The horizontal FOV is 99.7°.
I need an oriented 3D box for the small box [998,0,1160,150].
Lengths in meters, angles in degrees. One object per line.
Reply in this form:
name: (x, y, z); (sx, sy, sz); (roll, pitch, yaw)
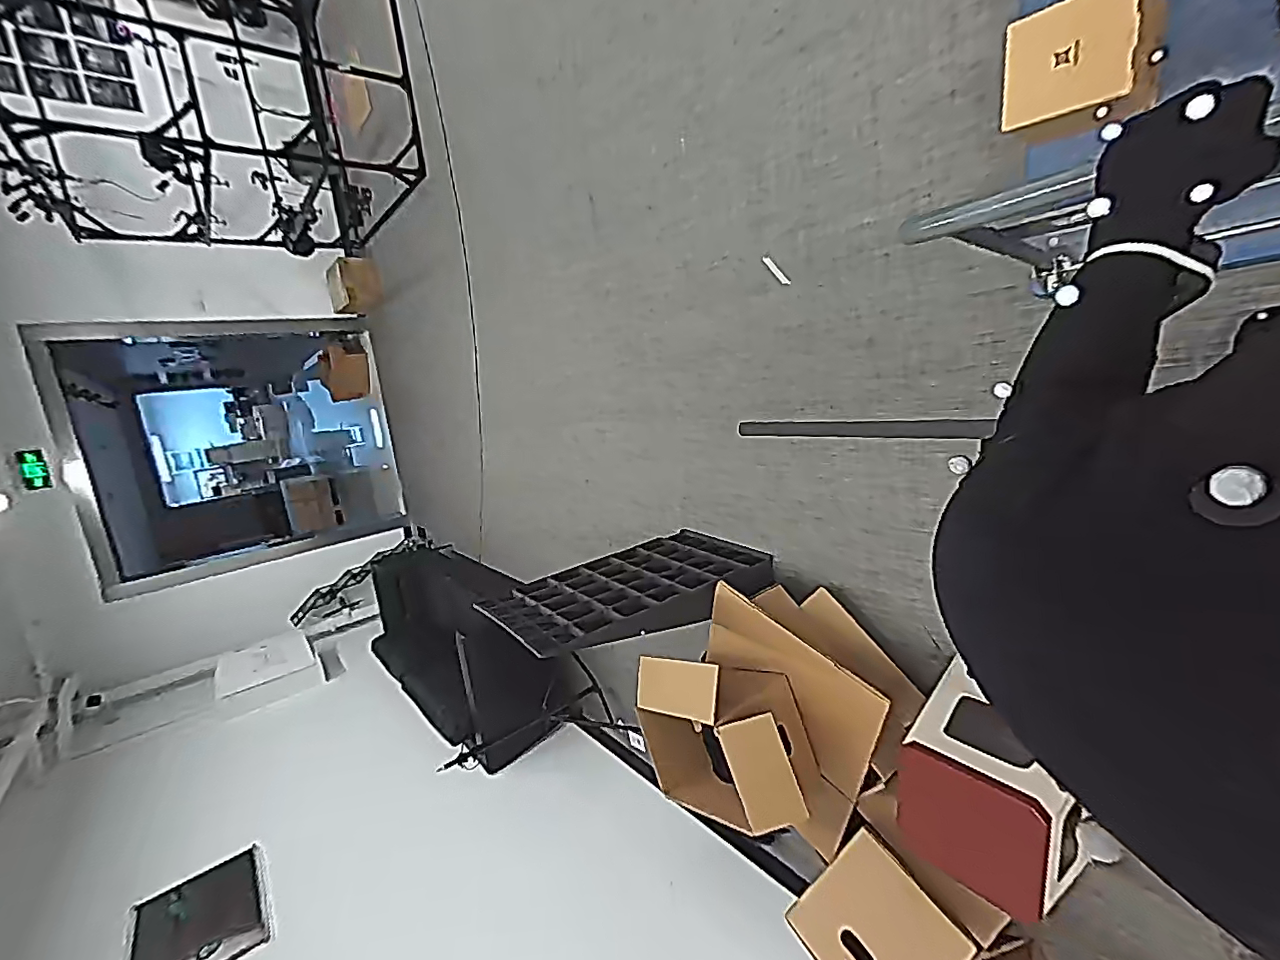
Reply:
small box: (0.744, -0.690, 0.921); (0.179, 0.176, 0.168); (10, 109, 48)

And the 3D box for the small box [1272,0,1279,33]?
small box: (0.933, -0.680, 0.678); (0.179, 0.176, 0.168); (-2, 101, 53)
